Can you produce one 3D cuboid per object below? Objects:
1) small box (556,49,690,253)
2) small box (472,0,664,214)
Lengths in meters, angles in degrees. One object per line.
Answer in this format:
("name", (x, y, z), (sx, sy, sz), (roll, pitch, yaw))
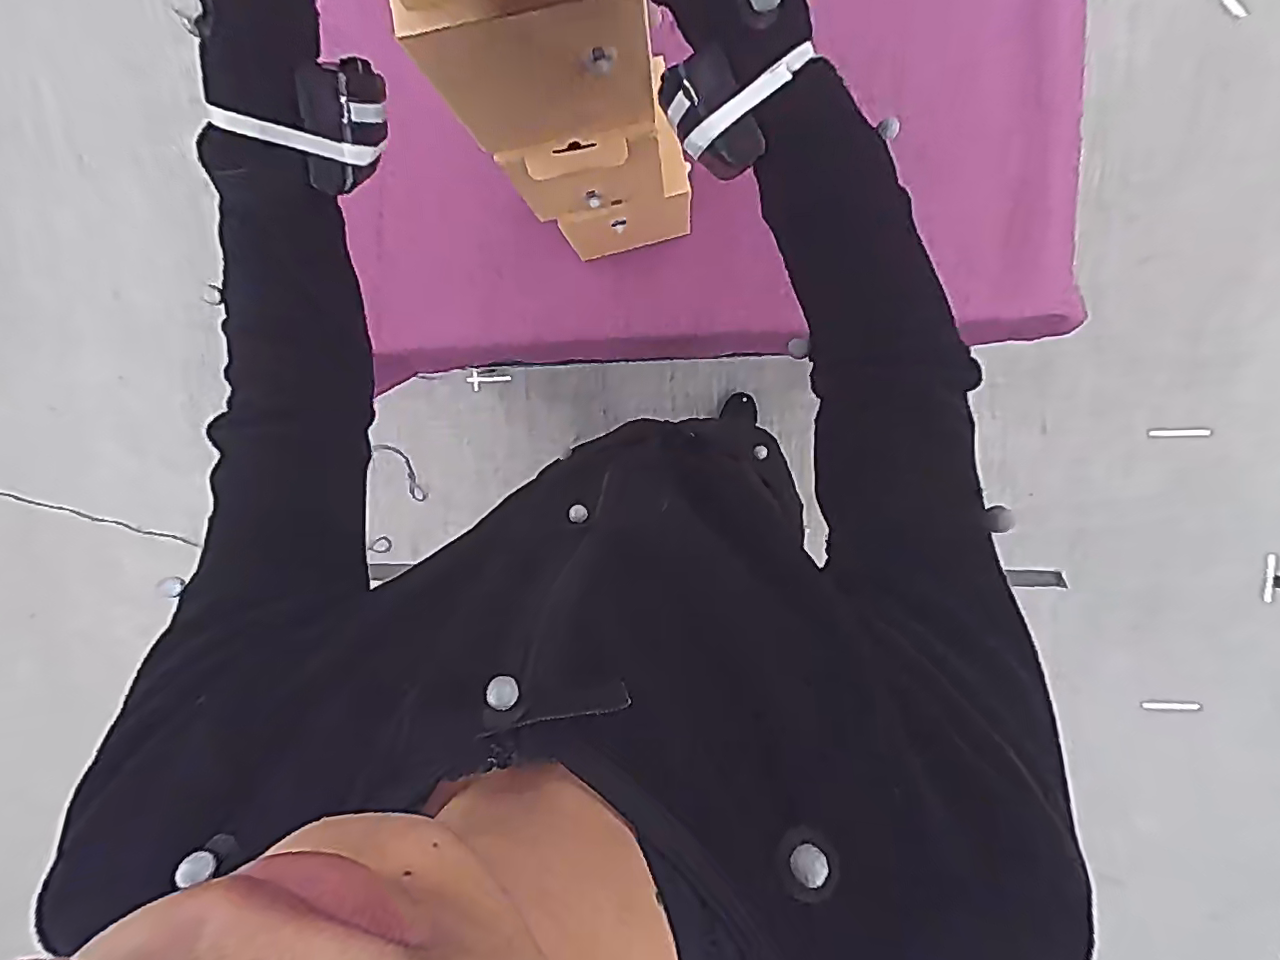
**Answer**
("small box", (-0.030, -0.435, 0.749), (0.179, 0.176, 0.168), (-12, 97, 6))
("small box", (-0.066, -0.419, 0.588), (0.168, 0.176, 0.179), (-7, 97, 7))
